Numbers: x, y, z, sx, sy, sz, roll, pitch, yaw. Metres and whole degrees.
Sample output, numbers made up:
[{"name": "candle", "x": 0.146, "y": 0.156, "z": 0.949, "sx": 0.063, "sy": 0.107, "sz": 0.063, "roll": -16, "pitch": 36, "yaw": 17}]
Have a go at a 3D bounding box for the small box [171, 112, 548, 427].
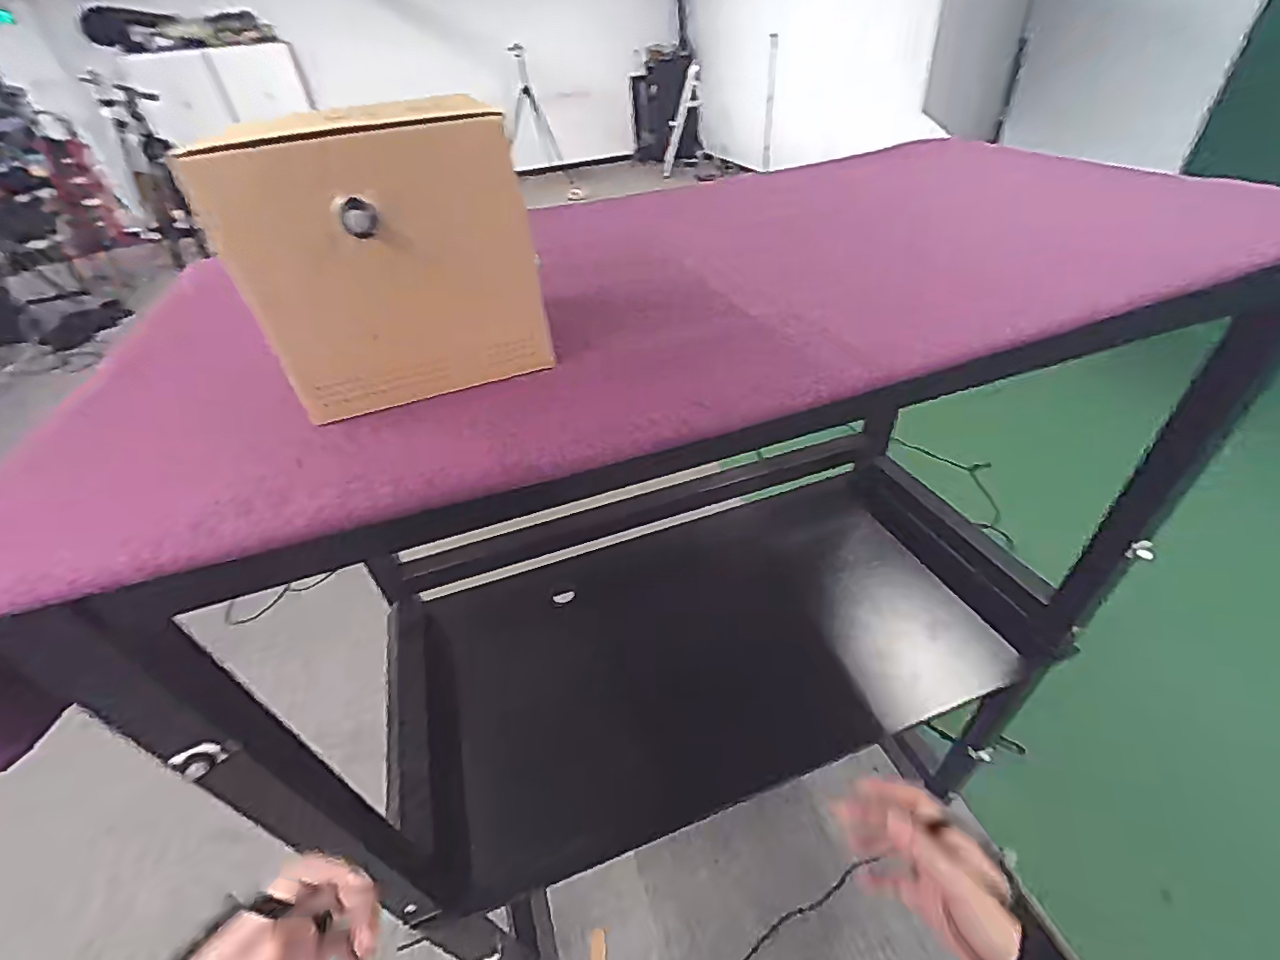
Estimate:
[{"name": "small box", "x": -0.184, "y": -0.161, "z": 0.408, "sx": 0.179, "sy": 0.176, "sz": 0.168, "roll": -17, "pitch": 41, "yaw": -13}]
